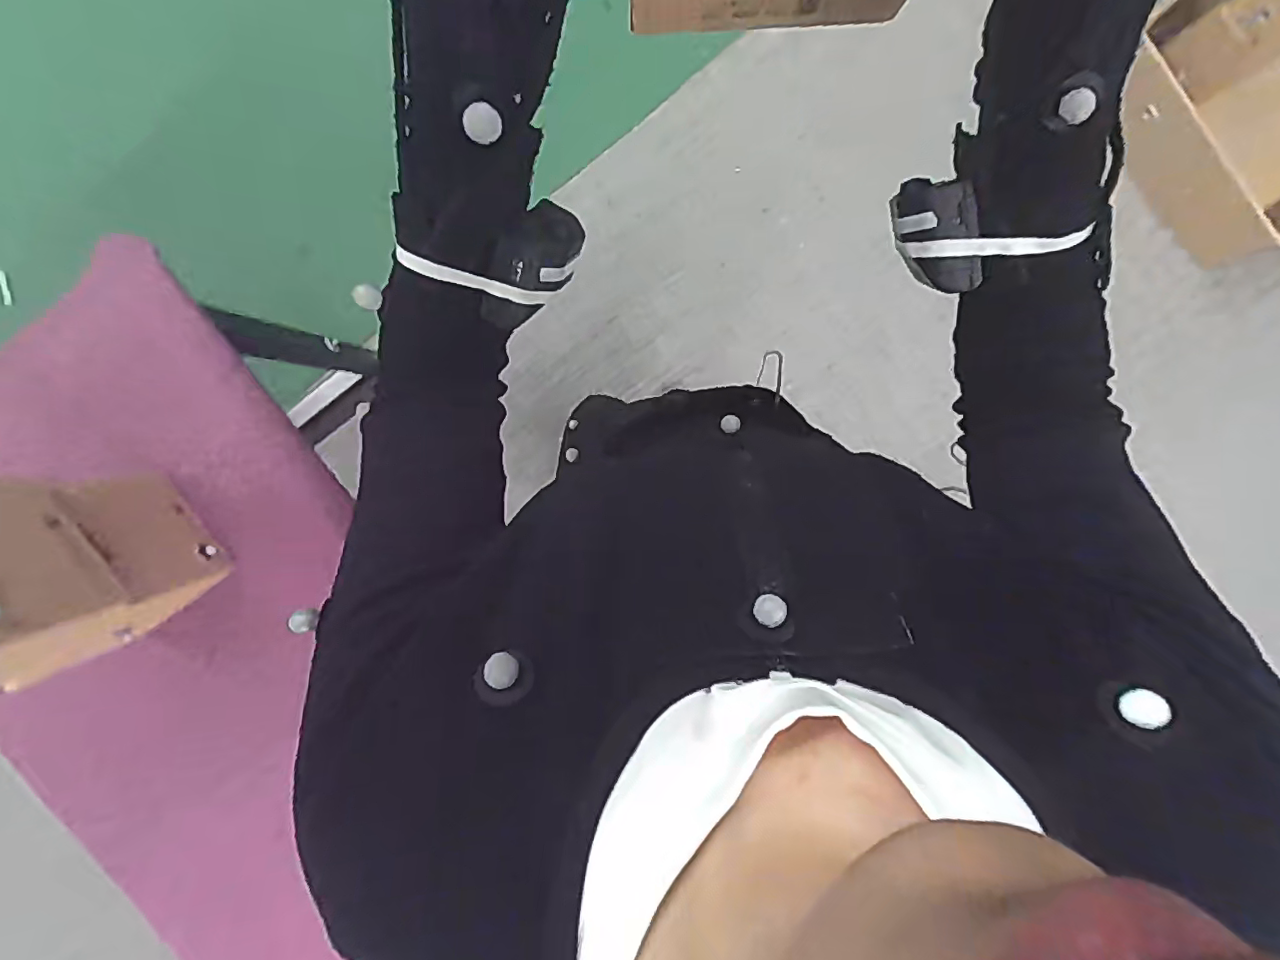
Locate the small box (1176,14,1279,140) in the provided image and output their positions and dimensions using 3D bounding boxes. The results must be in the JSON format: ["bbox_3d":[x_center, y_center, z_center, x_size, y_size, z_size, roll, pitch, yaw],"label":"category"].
[{"bbox_3d":[1.408,-0.933,1.234,0.179,0.176,0.168,-34,95,3],"label":"small box"}]

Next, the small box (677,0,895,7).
[{"bbox_3d":[0.081,-0.350,0.235,0.168,0.176,0.179,-2,101,0],"label":"small box"}]

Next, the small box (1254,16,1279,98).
[{"bbox_3d":[1.413,-0.916,1.072,0.179,0.176,0.168,-35,96,3],"label":"small box"}]

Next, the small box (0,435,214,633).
[{"bbox_3d":[-0.672,0.053,0.655,0.179,0.176,0.168,-28,94,3],"label":"small box"}]
